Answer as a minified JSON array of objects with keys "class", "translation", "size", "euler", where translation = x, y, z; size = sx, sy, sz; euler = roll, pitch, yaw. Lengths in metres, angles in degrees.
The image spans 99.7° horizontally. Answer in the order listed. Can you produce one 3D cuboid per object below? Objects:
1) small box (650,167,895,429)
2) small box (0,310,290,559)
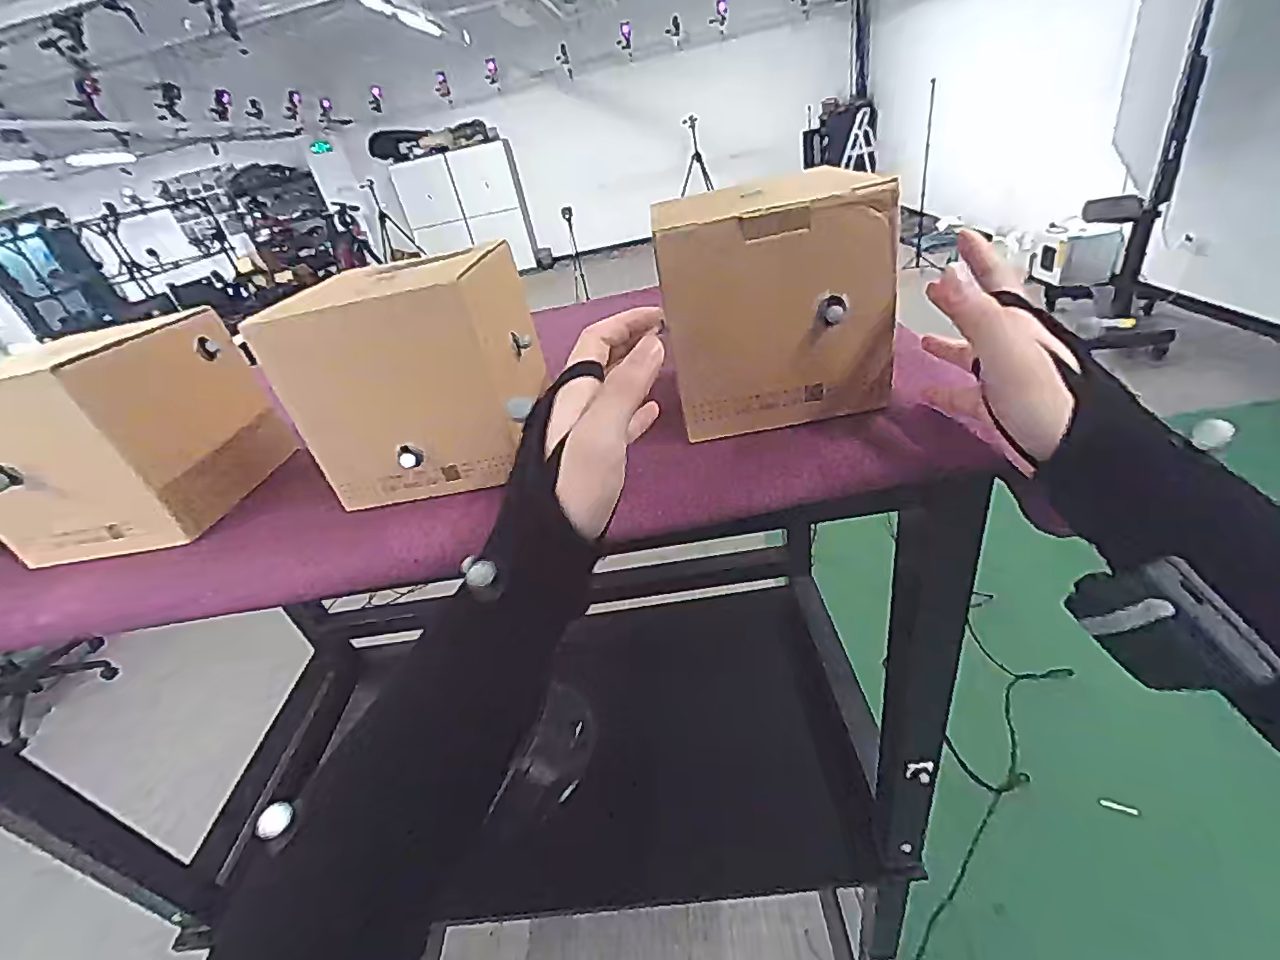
[{"class":"small box","translation":[0.105,-0.153,0.468],"size":[0.168,0.176,0.179],"euler":[-9,32,7]},{"class":"small box","translation":[-0.481,-0.040,0.509],"size":[0.168,0.176,0.179],"euler":[-9,31,6]}]
